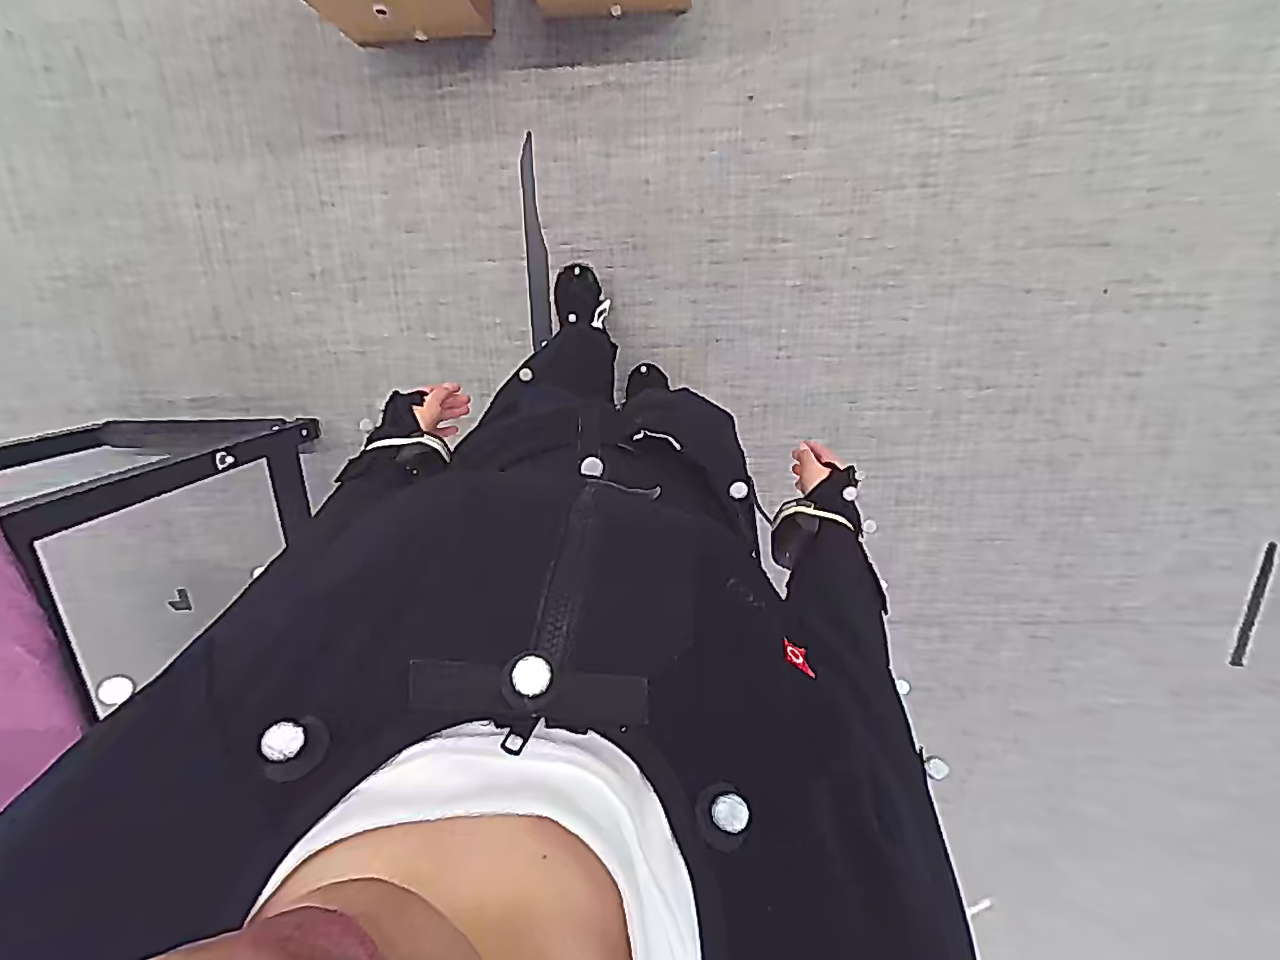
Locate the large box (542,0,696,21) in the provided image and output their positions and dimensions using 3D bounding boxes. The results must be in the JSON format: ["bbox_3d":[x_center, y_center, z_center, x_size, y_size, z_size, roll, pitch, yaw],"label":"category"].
[{"bbox_3d":[-0.054,-1.096,0.910,0.320,0.320,0.408,-2,108,4],"label":"large box"}]
